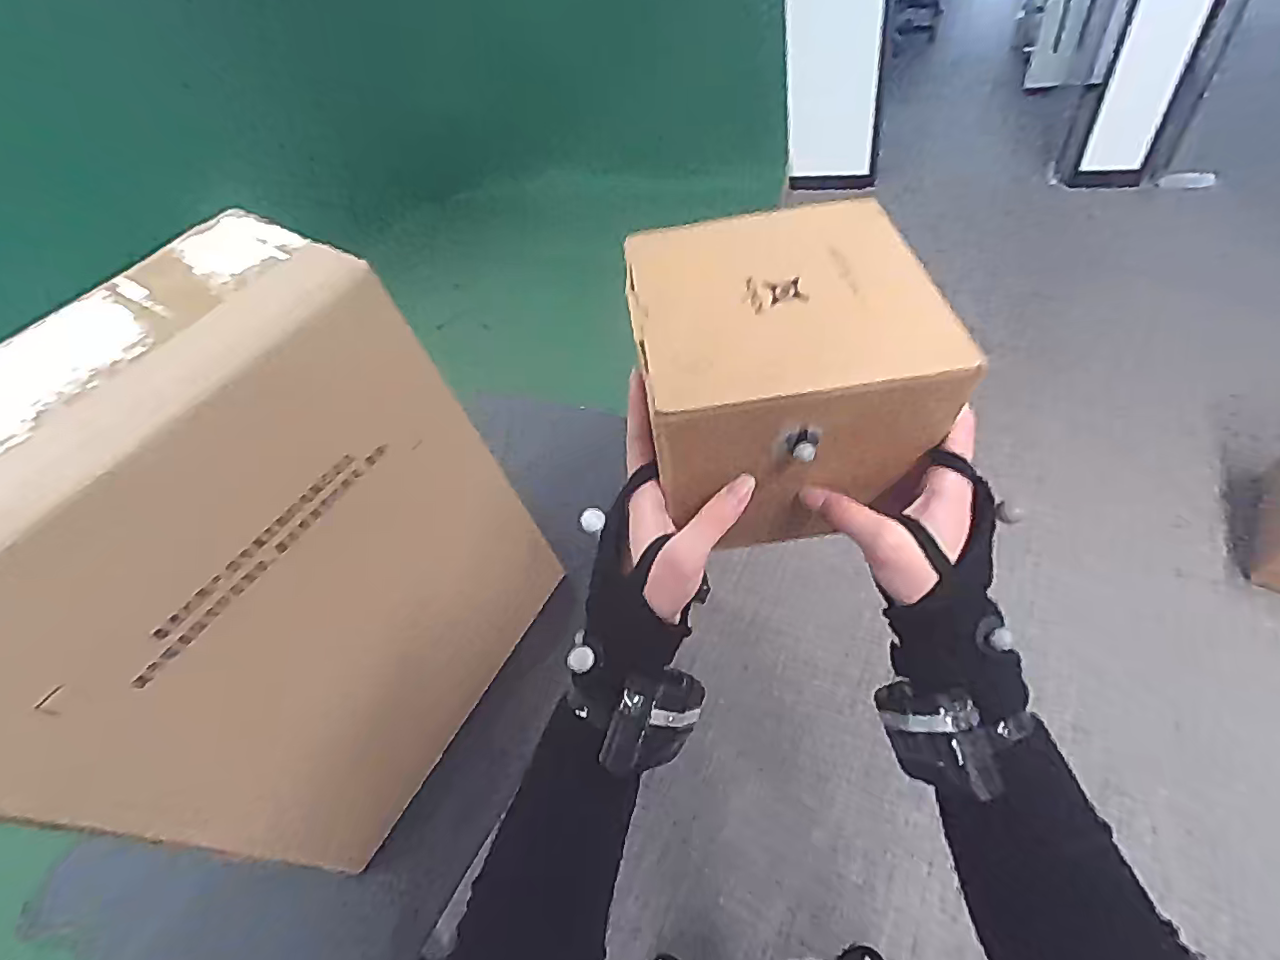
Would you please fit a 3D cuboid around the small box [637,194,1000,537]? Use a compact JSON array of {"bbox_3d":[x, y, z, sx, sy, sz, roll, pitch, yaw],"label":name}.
[{"bbox_3d":[0.097,-0.073,0.386,0.179,0.176,0.168,-7,54,-1],"label":"small box"}]
